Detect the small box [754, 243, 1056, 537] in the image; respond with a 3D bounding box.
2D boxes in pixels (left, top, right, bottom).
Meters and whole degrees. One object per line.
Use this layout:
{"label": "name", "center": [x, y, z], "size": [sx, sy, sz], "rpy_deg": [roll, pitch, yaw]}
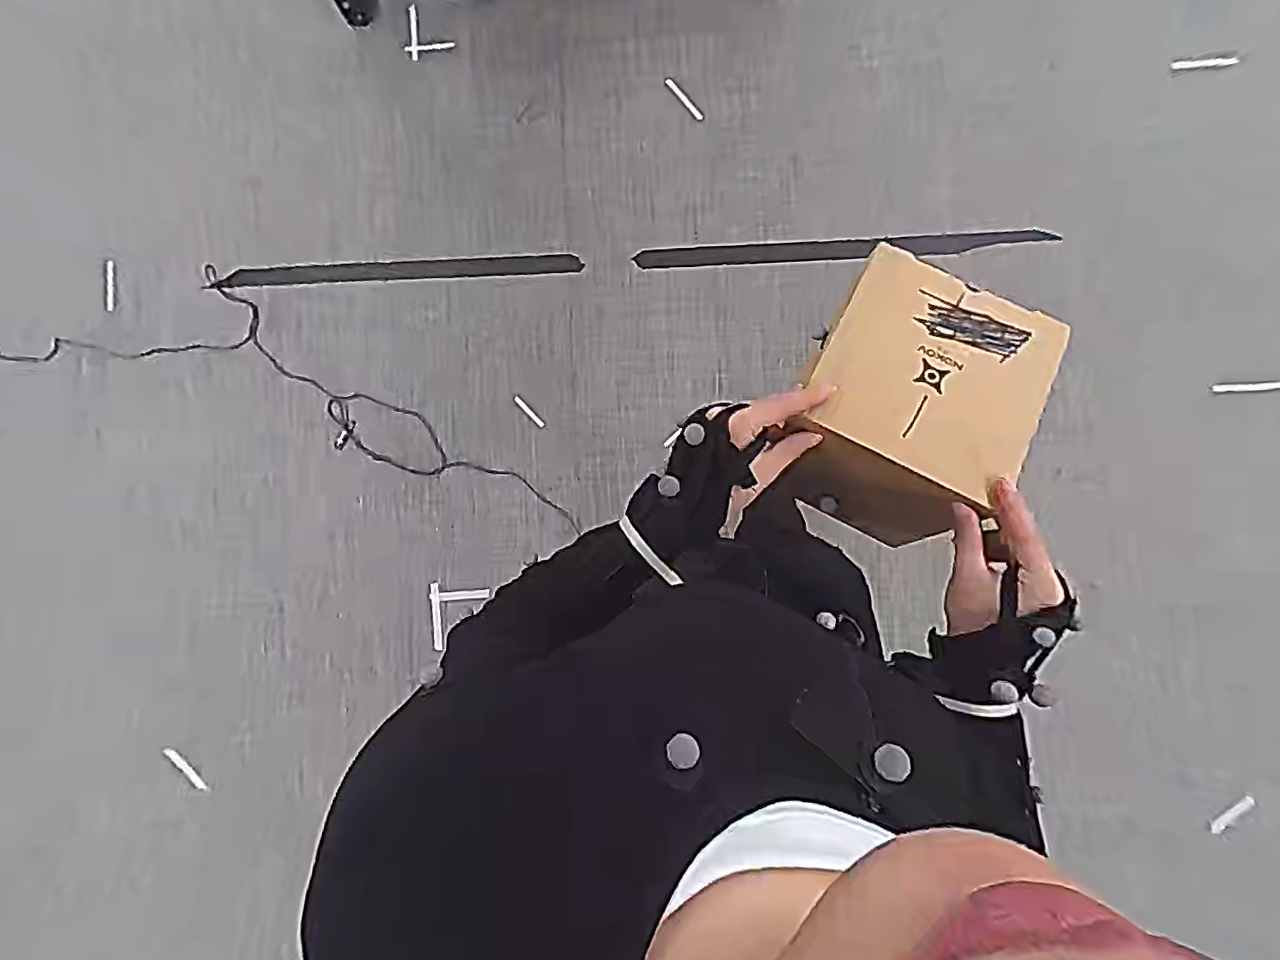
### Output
{"label": "small box", "center": [0.222, -0.068, 0.498], "size": [0.168, 0.176, 0.179], "rpy_deg": [27, 77, 7]}
